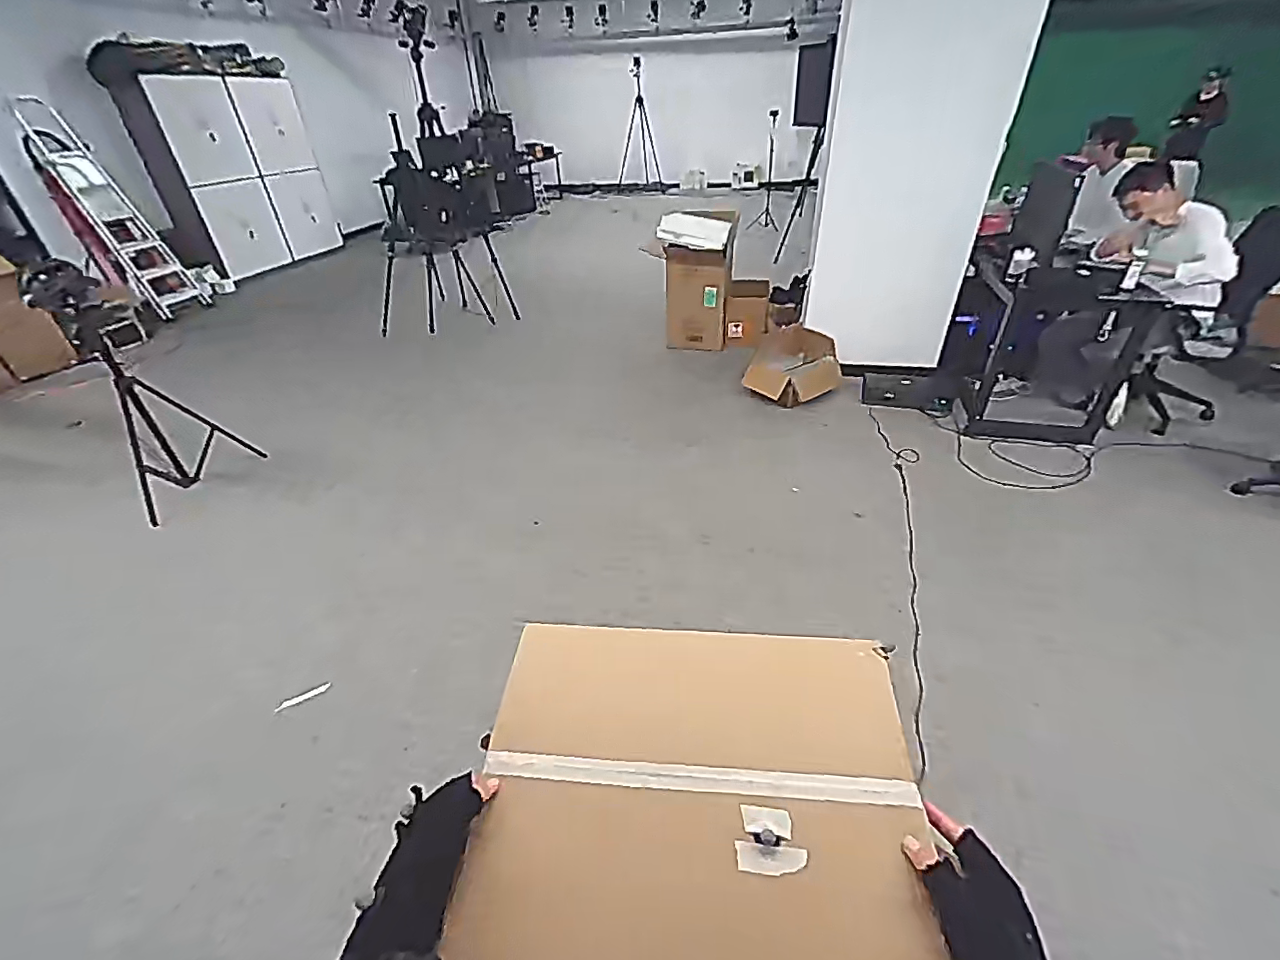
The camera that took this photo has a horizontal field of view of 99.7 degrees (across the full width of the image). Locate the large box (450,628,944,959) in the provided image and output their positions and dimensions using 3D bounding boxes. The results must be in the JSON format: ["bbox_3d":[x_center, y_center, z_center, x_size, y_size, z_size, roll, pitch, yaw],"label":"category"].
[{"bbox_3d":[0.058,0.396,0.632,0.408,0.320,0.320,1,44,6],"label":"large box"}]
